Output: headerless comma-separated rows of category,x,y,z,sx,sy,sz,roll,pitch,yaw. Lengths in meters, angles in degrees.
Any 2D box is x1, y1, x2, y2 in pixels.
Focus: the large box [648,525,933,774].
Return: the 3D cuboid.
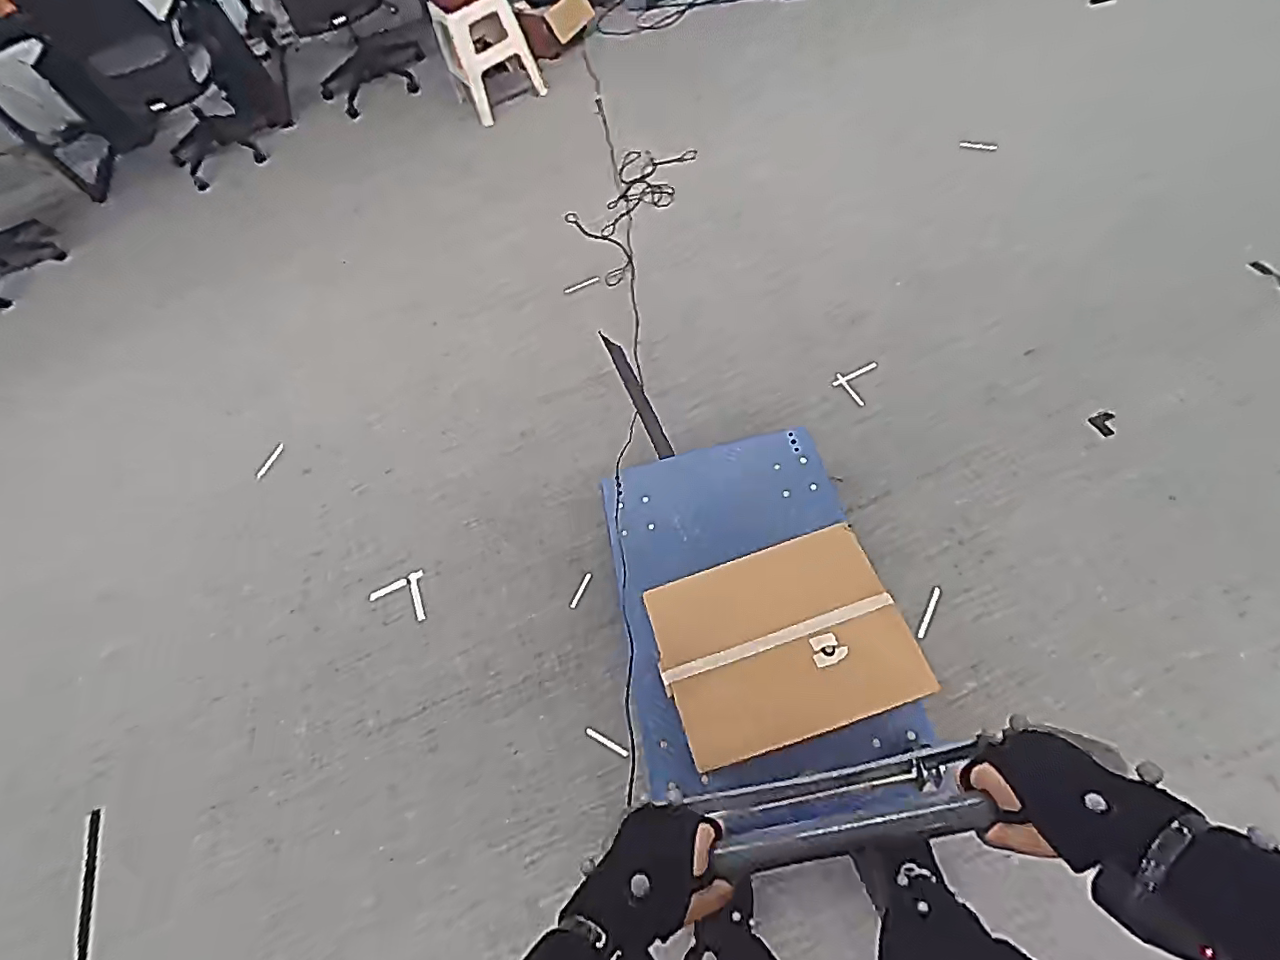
large box,0.267,0.346,1.066,0.408,0.320,0.320,-20,60,0
